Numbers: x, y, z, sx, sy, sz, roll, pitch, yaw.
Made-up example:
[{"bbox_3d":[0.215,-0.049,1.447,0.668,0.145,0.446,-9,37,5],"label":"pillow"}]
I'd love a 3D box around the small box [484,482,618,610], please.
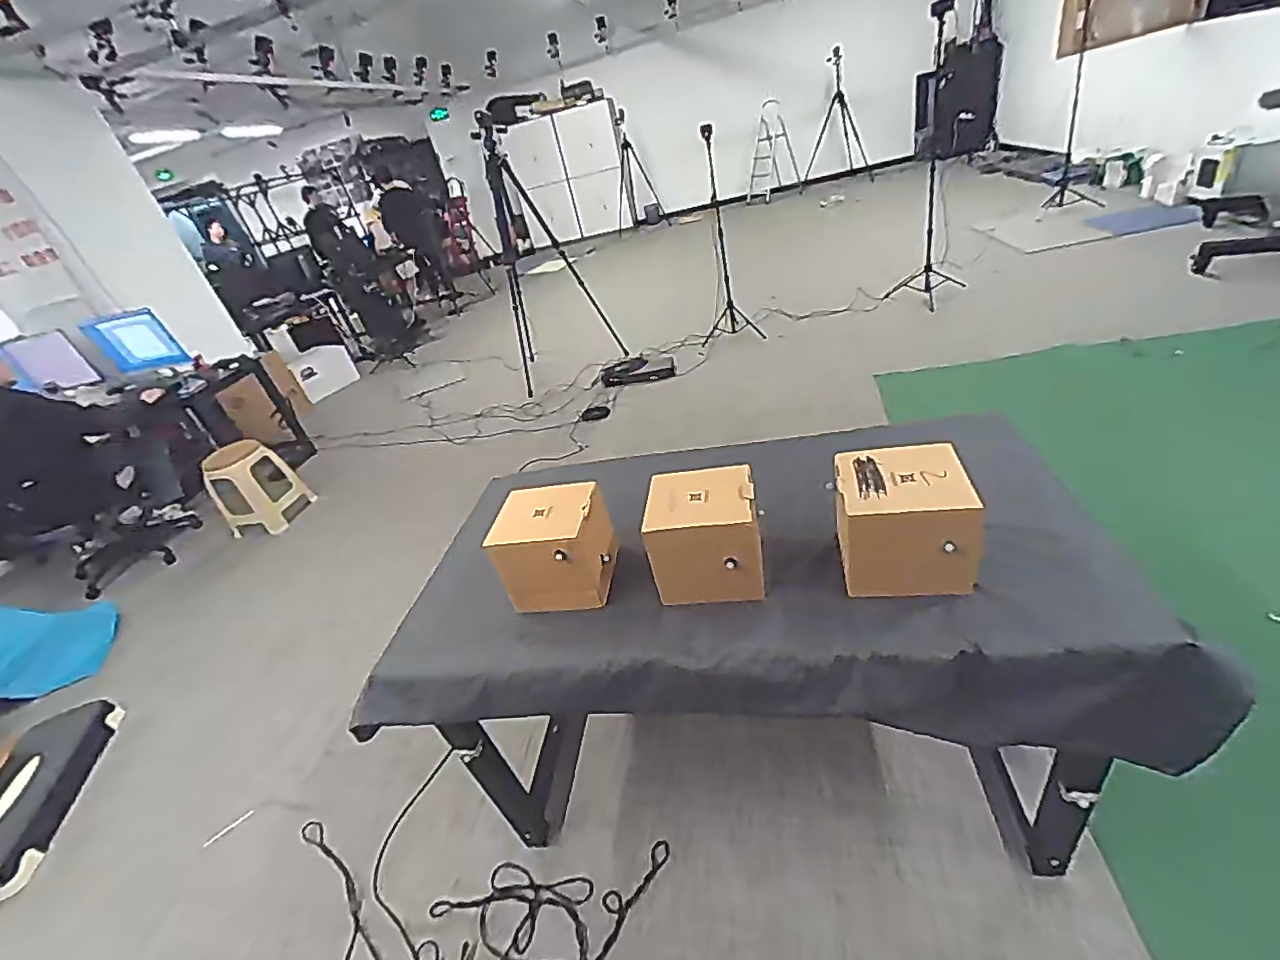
[{"bbox_3d":[-0.155,0.125,1.006,0.179,0.176,0.168,-7,33,13],"label":"small box"}]

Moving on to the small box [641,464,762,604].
[{"bbox_3d":[0.114,0.095,0.935,0.179,0.176,0.168,-8,31,15],"label":"small box"}]
